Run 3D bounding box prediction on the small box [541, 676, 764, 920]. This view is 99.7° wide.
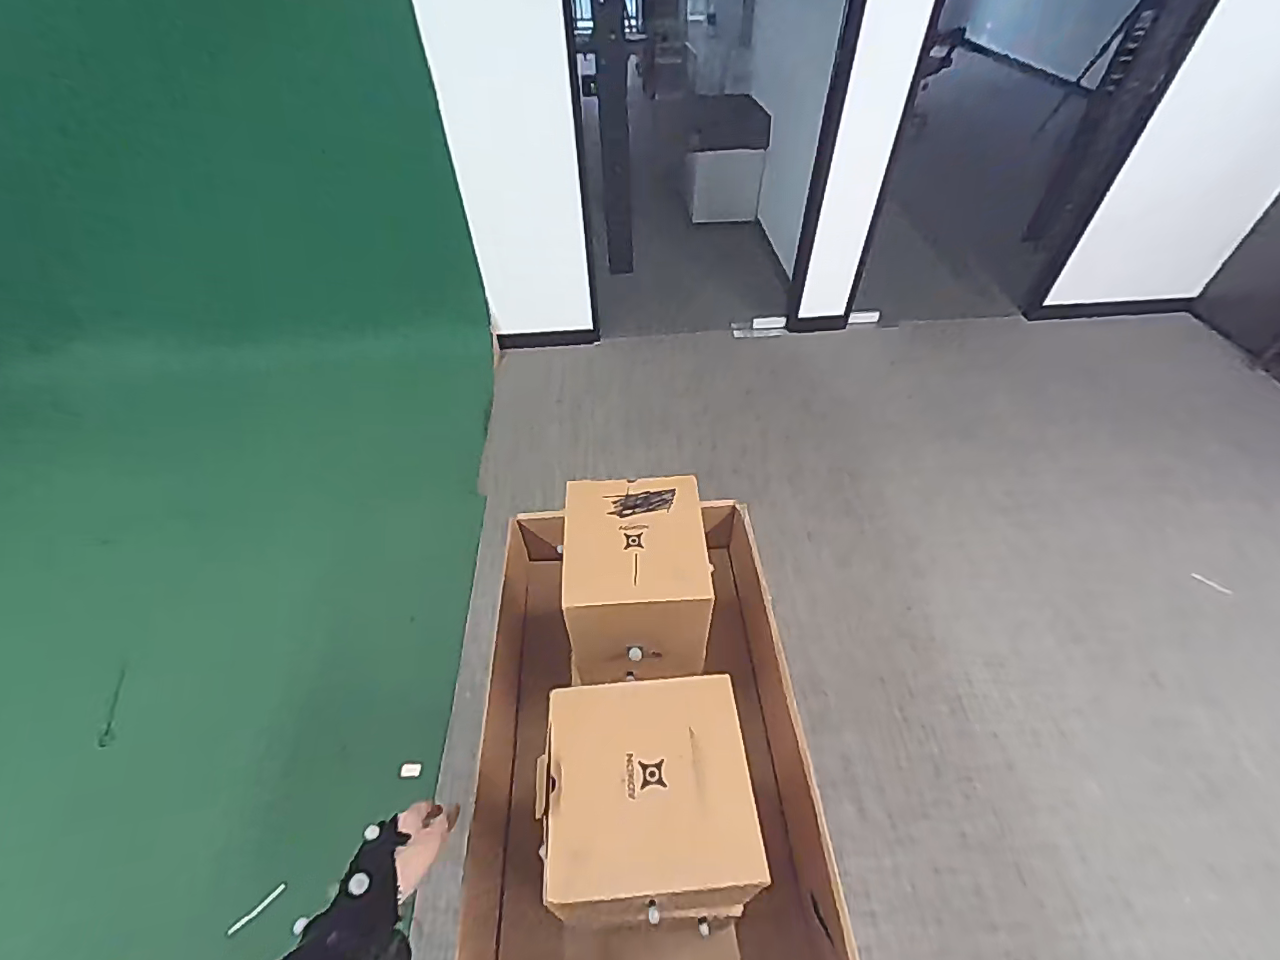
[{"bbox_3d":[0.006,0.310,0.526,0.179,0.176,0.168,-4,48,-3],"label":"small box"}]

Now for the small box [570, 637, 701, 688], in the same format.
[{"bbox_3d":[-0.005,0.225,0.819,0.179,0.176,0.168,-3,50,0],"label":"small box"}]

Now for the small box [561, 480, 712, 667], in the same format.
[{"bbox_3d":[-0.007,0.121,0.691,0.168,0.176,0.179,-3,50,-1],"label":"small box"}]
